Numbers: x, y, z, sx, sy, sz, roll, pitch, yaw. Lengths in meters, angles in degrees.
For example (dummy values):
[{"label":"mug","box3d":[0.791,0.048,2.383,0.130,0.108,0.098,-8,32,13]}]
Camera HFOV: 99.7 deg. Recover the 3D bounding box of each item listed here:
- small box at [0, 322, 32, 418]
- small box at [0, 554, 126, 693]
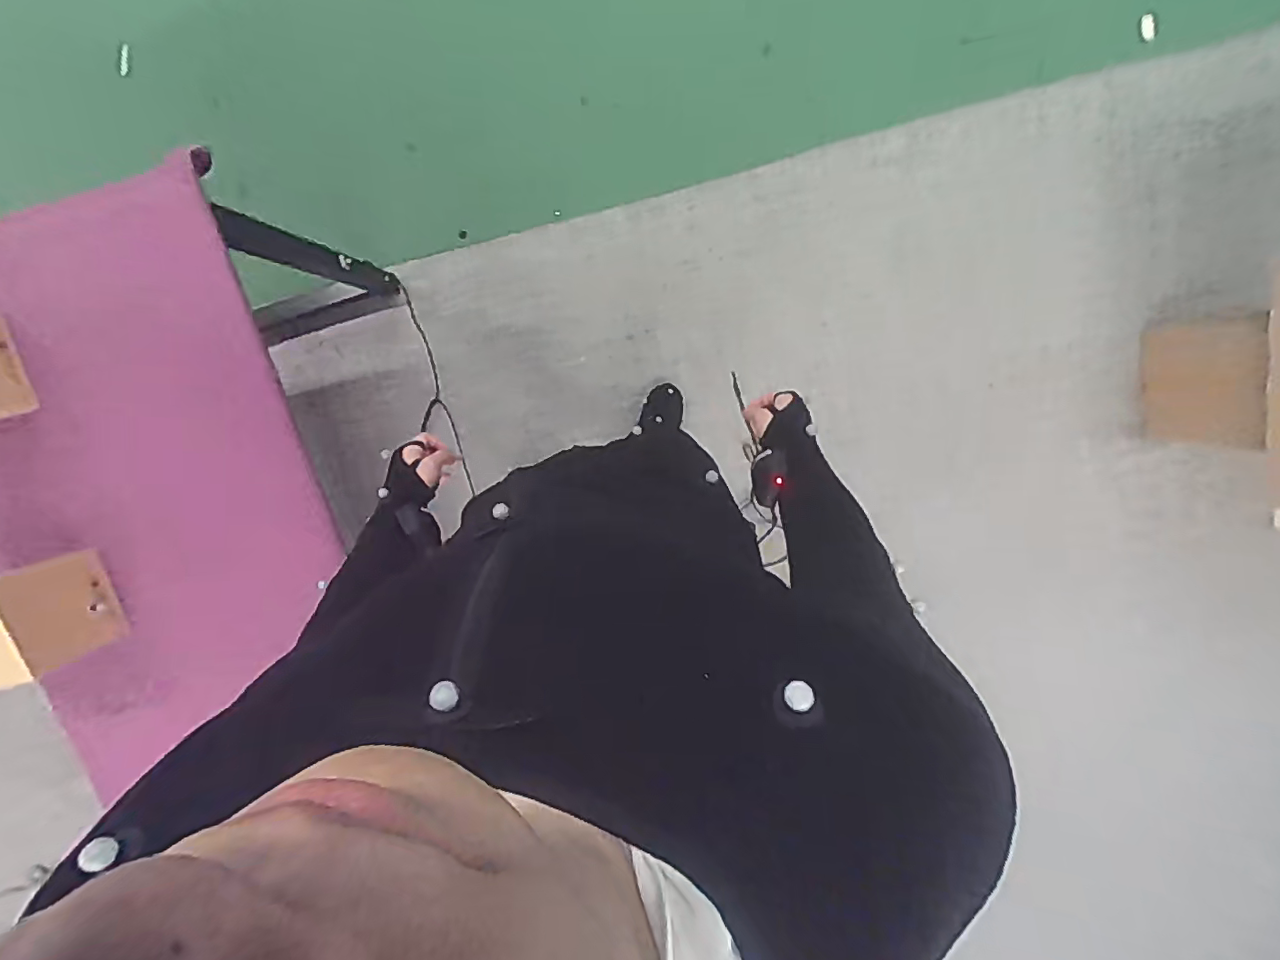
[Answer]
[{"label":"small box","box3d":[-1.097,-0.160,0.803,0.179,0.176,0.168,-12,101,4]},{"label":"small box","box3d":[-1.009,0.236,0.872,0.179,0.176,0.168,-16,100,3]}]
